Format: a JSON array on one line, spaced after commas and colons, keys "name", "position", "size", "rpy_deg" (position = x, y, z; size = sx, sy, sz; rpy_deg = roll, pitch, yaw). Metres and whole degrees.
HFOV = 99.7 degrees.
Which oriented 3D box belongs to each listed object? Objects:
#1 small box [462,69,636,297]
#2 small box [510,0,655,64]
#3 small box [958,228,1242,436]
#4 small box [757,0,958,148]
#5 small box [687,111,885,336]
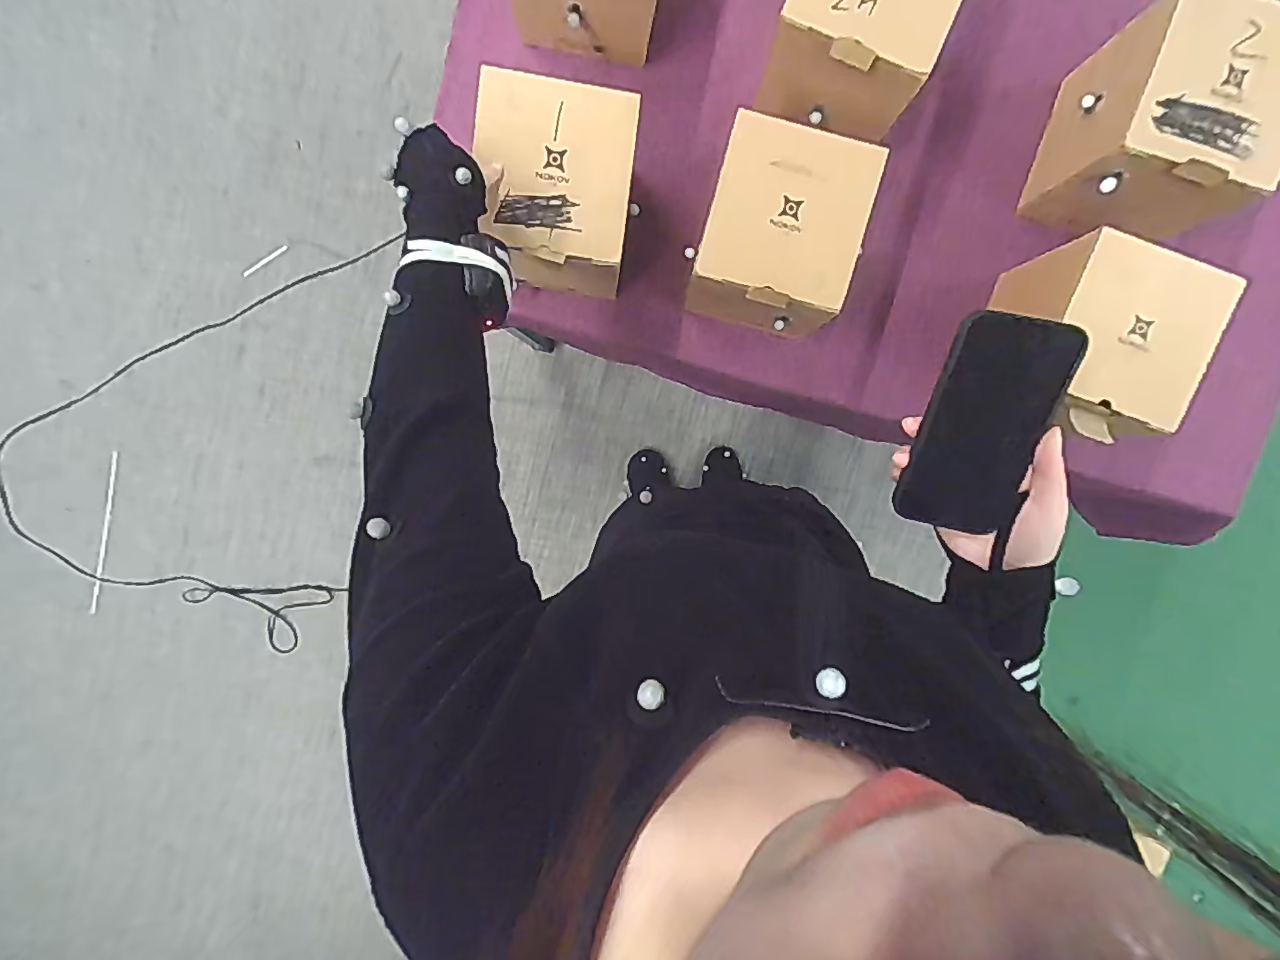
[{"name": "small box", "position": [-0.100, -0.331, 0.641], "size": [0.168, 0.176, 0.179], "rpy_deg": [7, 95, -5]}, {"name": "small box", "position": [-0.061, -0.630, 0.621], "size": [0.168, 0.176, 0.179], "rpy_deg": [11, 97, 0]}, {"name": "small box", "position": [0.526, -0.163, 0.650], "size": [0.168, 0.176, 0.179], "rpy_deg": [20, 96, 0]}, {"name": "small box", "position": [0.249, -0.525, 0.622], "size": [0.168, 0.176, 0.179], "rpy_deg": [22, 96, 0]}, {"name": "small box", "position": [0.157, -0.287, 0.649], "size": [0.168, 0.176, 0.179], "rpy_deg": [16, 95, -1]}]
